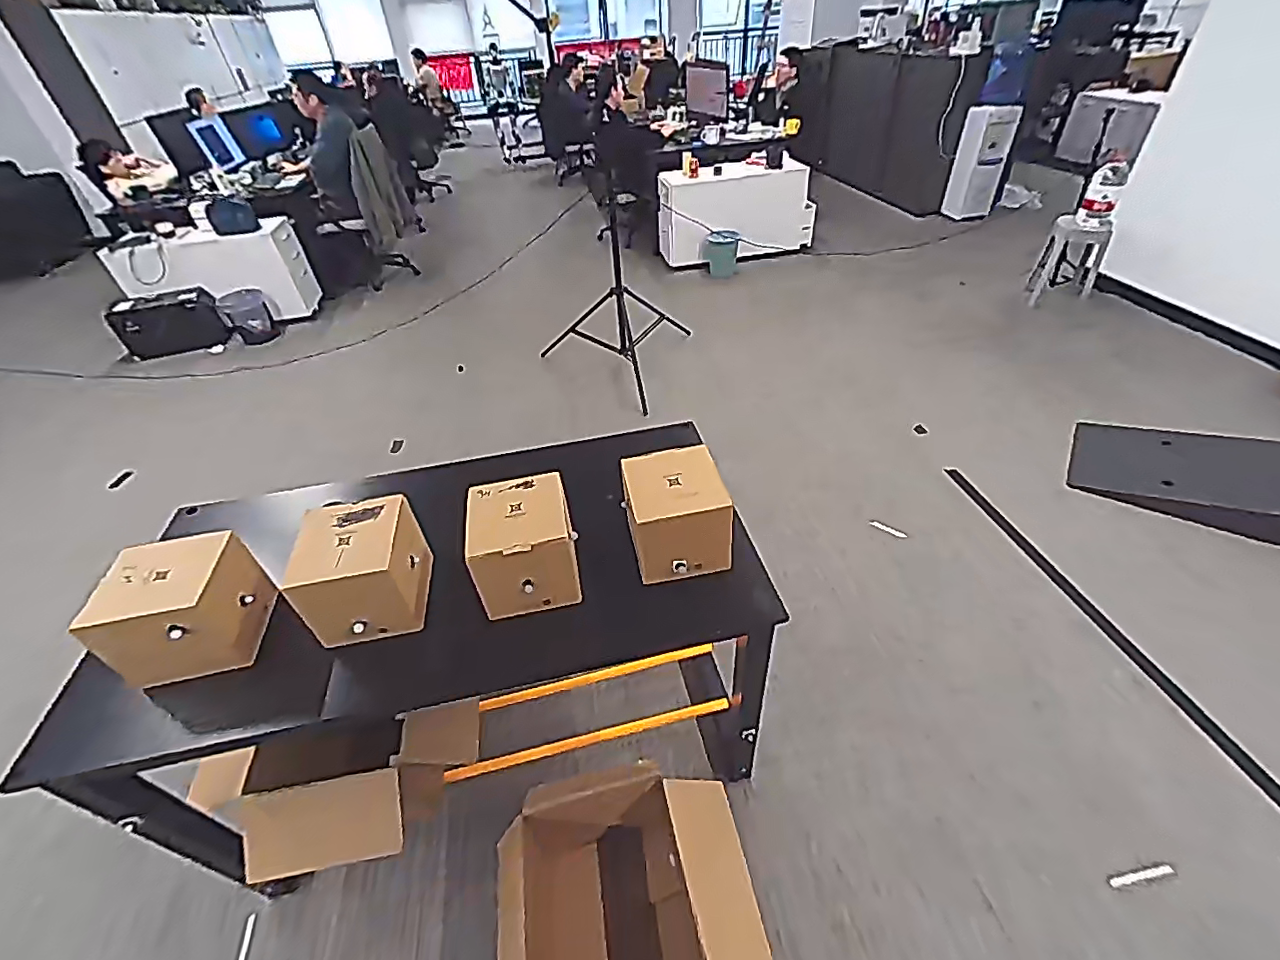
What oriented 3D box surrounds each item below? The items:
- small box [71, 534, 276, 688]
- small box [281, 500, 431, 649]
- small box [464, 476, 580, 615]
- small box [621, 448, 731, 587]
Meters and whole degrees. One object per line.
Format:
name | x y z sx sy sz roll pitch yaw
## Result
small box | -0.756 0.219 0.906 0.179 0.176 0.168 -11 40 -7
small box | -0.479 0.164 0.946 0.168 0.176 0.179 -10 41 -6
small box | -0.207 0.122 0.970 0.168 0.176 0.179 -11 41 -6
small box | 0.063 0.069 1.005 0.168 0.176 0.179 -11 41 -5
